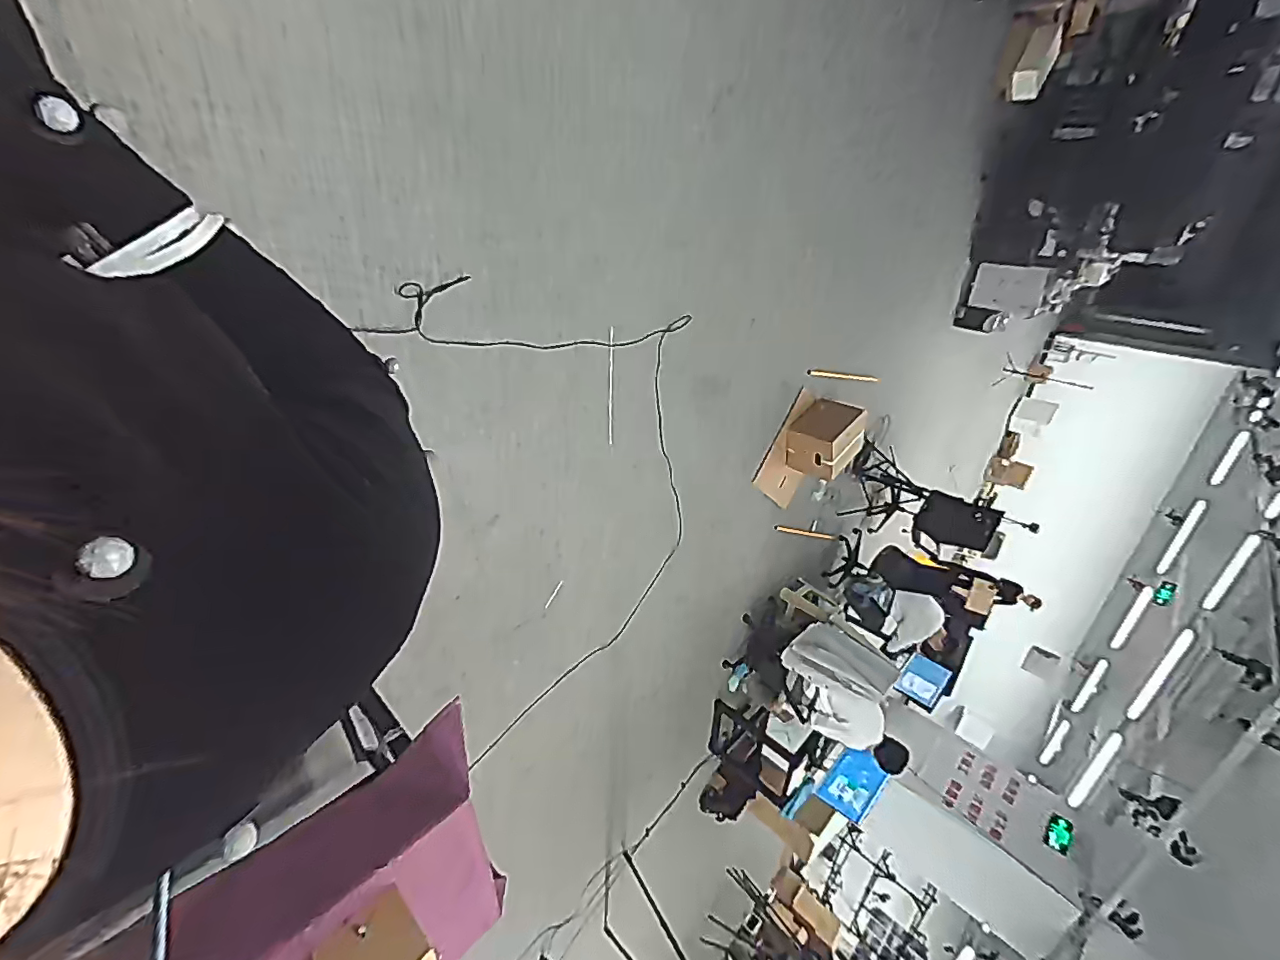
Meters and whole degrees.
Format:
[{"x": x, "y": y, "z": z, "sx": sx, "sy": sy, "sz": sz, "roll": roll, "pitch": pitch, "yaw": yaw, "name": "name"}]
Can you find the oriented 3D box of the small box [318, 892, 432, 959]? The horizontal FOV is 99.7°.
[{"x": -0.533, "y": 1.006, "z": 1.099, "sx": 0.179, "sy": 0.176, "sz": 0.168, "roll": -24, "pitch": 128, "yaw": -39, "name": "small box"}]
